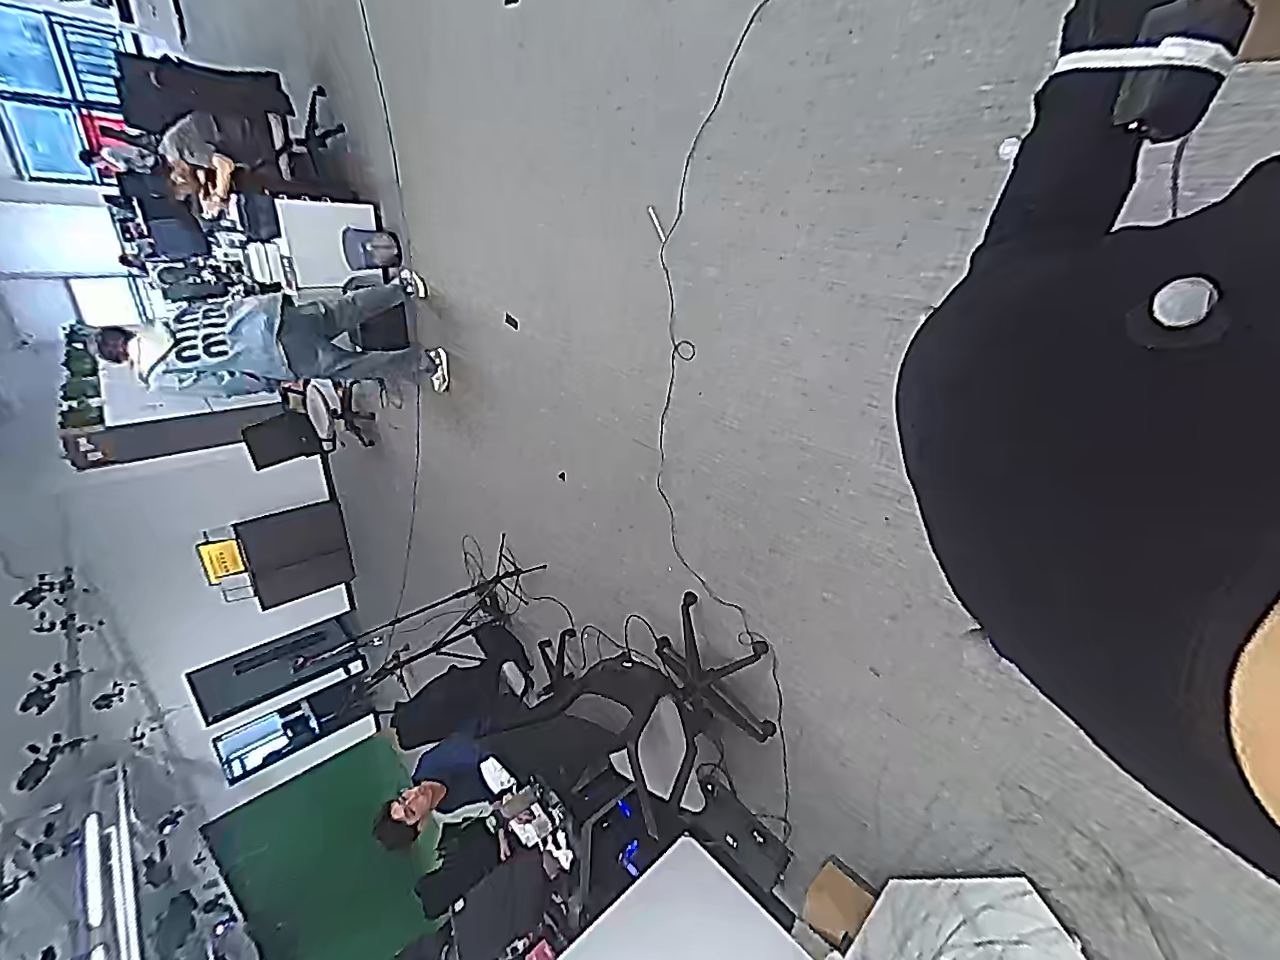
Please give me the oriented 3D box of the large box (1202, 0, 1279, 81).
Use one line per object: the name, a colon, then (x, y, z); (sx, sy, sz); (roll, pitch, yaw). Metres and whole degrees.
large box: (0.582, -0.400, 0.231); (0.408, 0.320, 0.320); (26, 128, 37)
